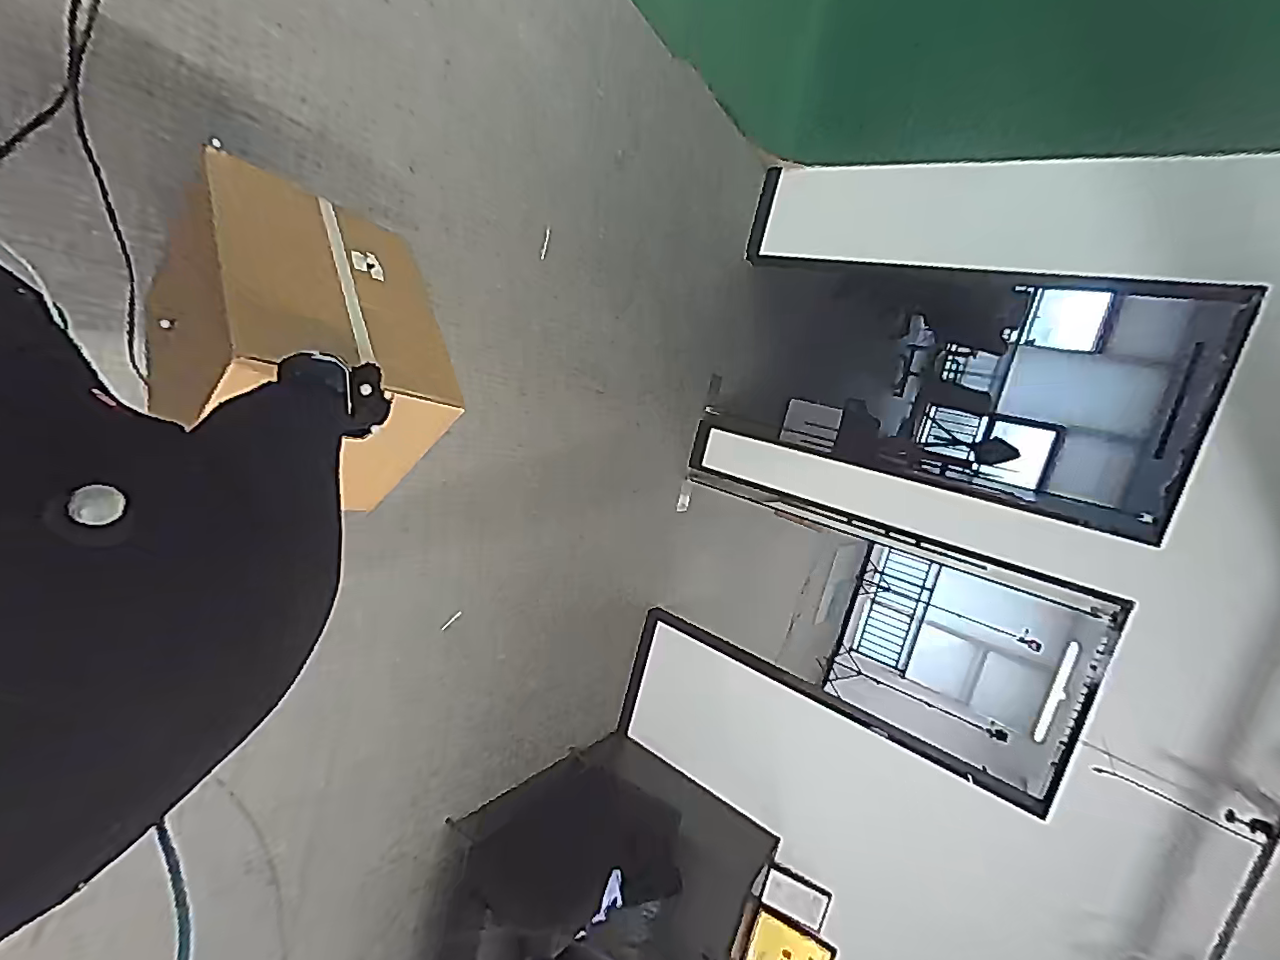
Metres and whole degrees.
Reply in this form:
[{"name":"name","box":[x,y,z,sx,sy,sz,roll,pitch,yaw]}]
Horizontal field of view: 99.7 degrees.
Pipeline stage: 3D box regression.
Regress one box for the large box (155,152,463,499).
[{"name":"large box","box":[-0.555,-0.215,0.893,0.320,0.408,0.320,-38,155,27]}]
